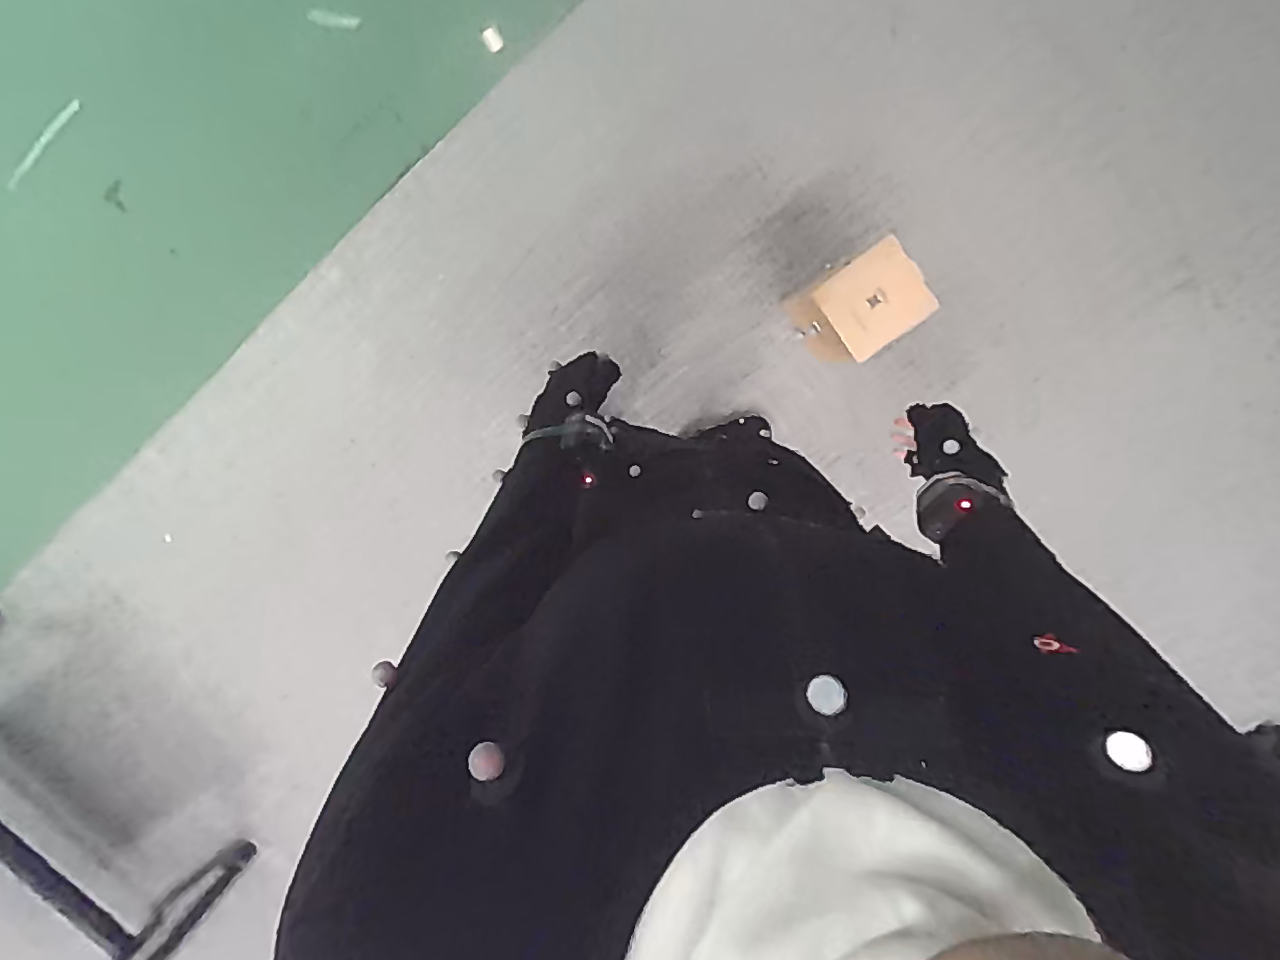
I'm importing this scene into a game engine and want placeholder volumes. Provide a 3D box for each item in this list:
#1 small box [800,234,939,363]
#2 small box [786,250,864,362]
[{"bbox_3d":[0.442,-0.351,1.073,0.179,0.176,0.168,-35,97,14],"label":"small box"},{"bbox_3d":[0.455,-0.390,1.230,0.168,0.176,0.179,-33,99,12],"label":"small box"}]
